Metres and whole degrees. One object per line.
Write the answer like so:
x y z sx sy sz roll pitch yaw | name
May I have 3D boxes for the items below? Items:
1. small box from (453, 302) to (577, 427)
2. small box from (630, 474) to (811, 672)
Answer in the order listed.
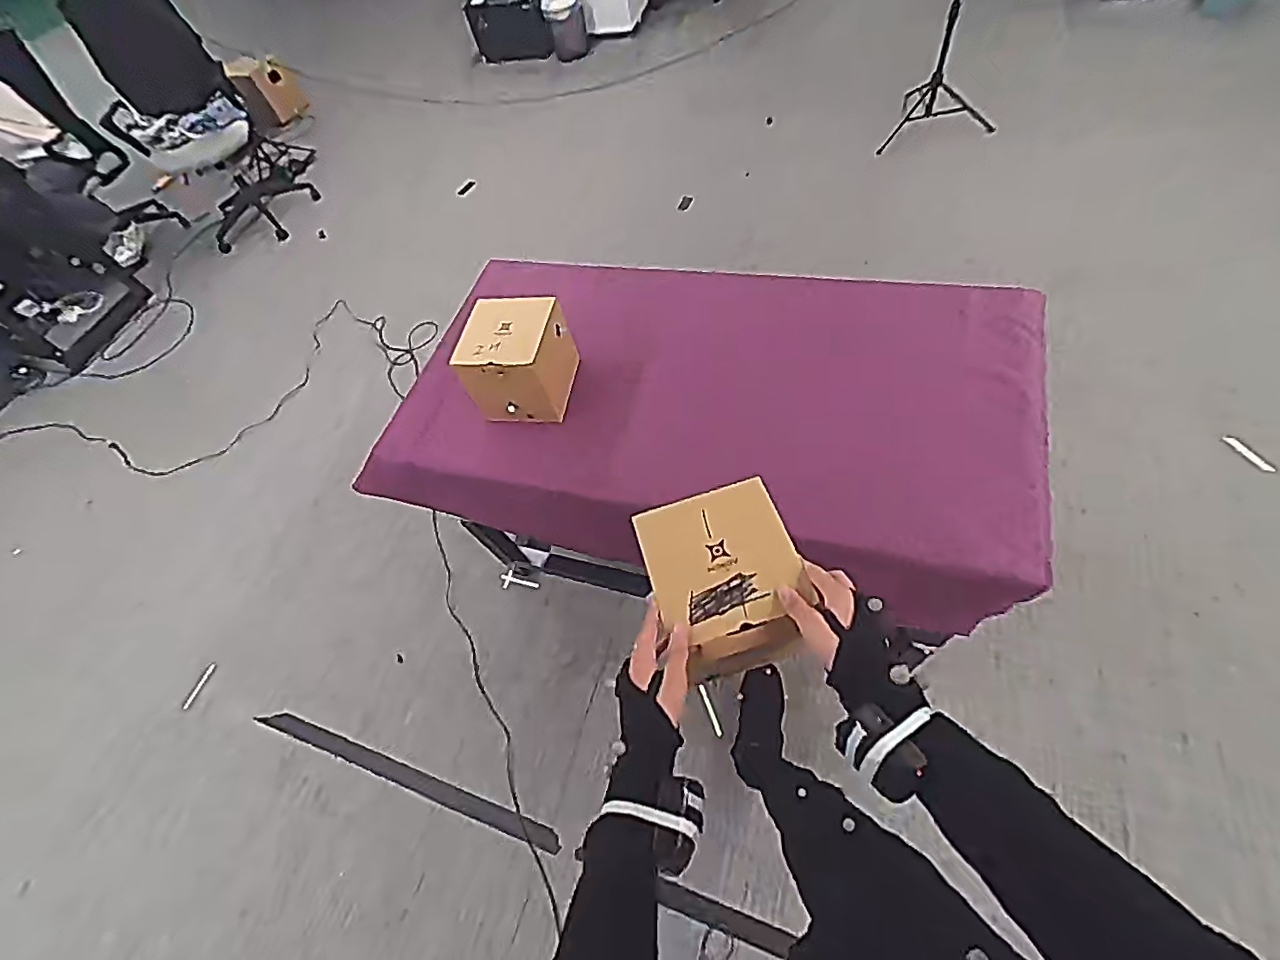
-0.234 -0.226 1.067 0.168 0.176 0.179 3 60 14 | small box
0.099 0.127 0.682 0.168 0.176 0.179 -18 55 -1 | small box
